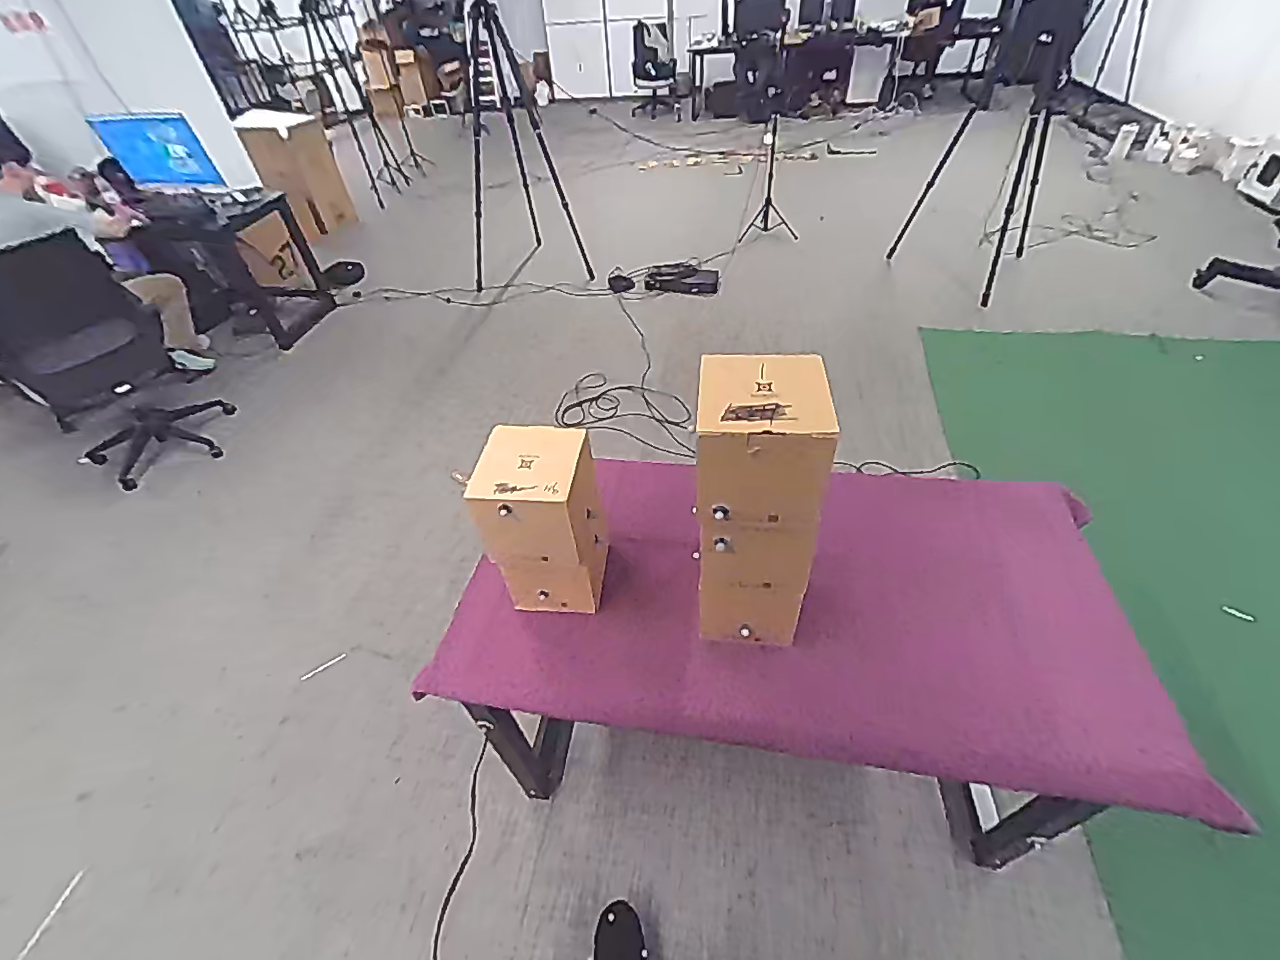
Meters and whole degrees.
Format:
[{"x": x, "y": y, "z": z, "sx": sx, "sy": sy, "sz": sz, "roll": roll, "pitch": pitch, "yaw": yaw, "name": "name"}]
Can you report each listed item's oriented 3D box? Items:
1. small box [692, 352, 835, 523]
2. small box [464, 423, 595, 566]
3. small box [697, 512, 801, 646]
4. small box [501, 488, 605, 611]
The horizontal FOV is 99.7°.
[{"x": 0.160, "y": -0.058, "z": 0.739, "sx": 0.168, "sy": 0.176, "sz": 0.179, "roll": 2, "pitch": 43, "yaw": 8, "name": "small box"}, {"x": -0.176, "y": 0.023, "z": 0.927, "sx": 0.168, "sy": 0.176, "sz": 0.179, "roll": 2, "pitch": 44, "yaw": 8, "name": "small box"}, {"x": 0.191, "y": 0.172, "z": 0.972, "sx": 0.168, "sy": 0.176, "sz": 0.179, "roll": 2, "pitch": 45, "yaw": 9, "name": "small box"}, {"x": -0.163, "y": 0.131, "z": 1.051, "sx": 0.168, "sy": 0.176, "sz": 0.179, "roll": 1, "pitch": 45, "yaw": 6, "name": "small box"}]
